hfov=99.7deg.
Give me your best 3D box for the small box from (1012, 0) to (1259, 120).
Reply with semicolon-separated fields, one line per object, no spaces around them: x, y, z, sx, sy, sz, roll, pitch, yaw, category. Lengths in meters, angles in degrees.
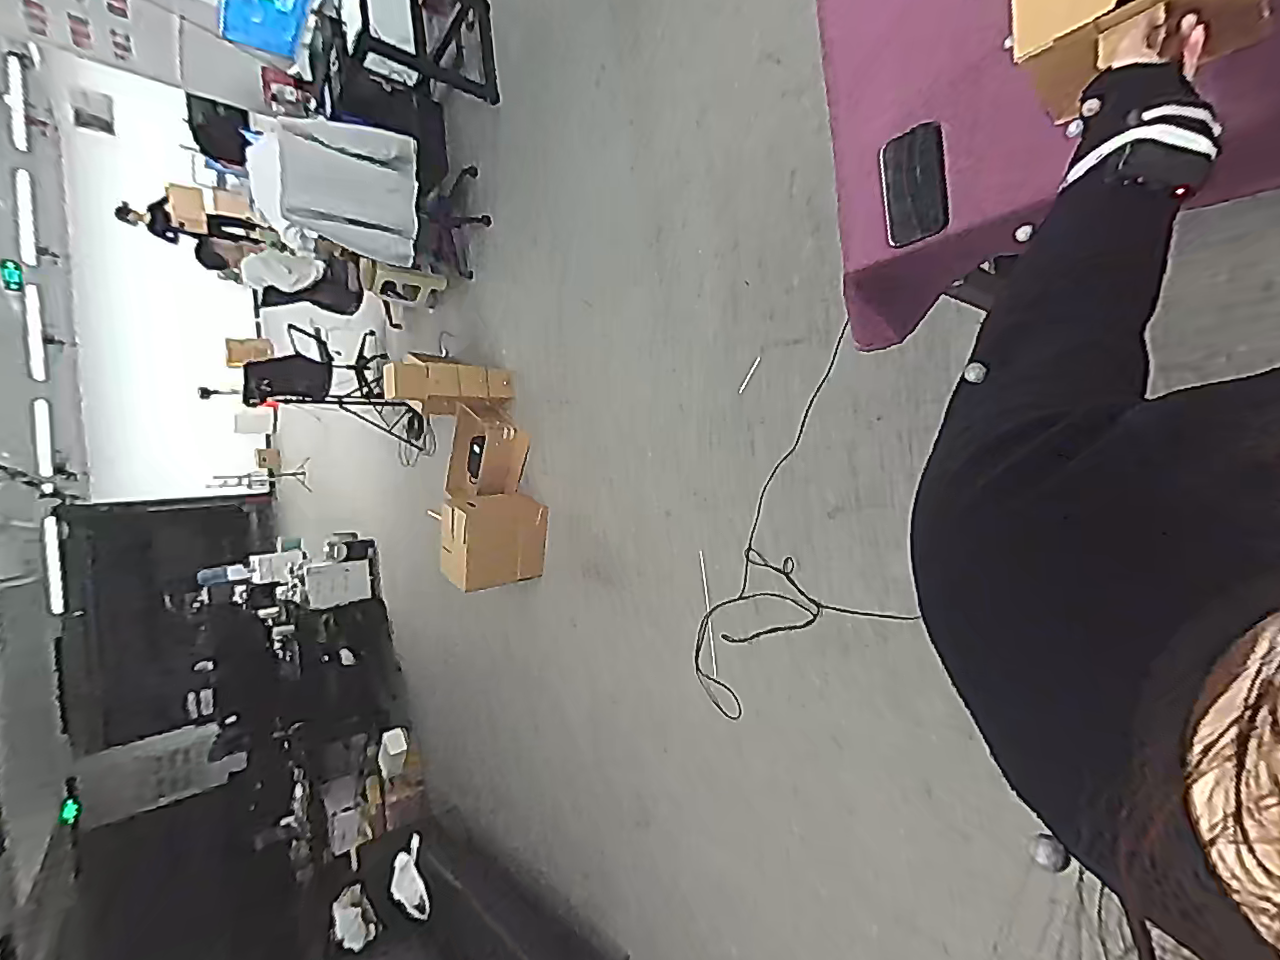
0.480;-0.504;0.527;0.168;0.176;0.179;-2;92;48;small box
